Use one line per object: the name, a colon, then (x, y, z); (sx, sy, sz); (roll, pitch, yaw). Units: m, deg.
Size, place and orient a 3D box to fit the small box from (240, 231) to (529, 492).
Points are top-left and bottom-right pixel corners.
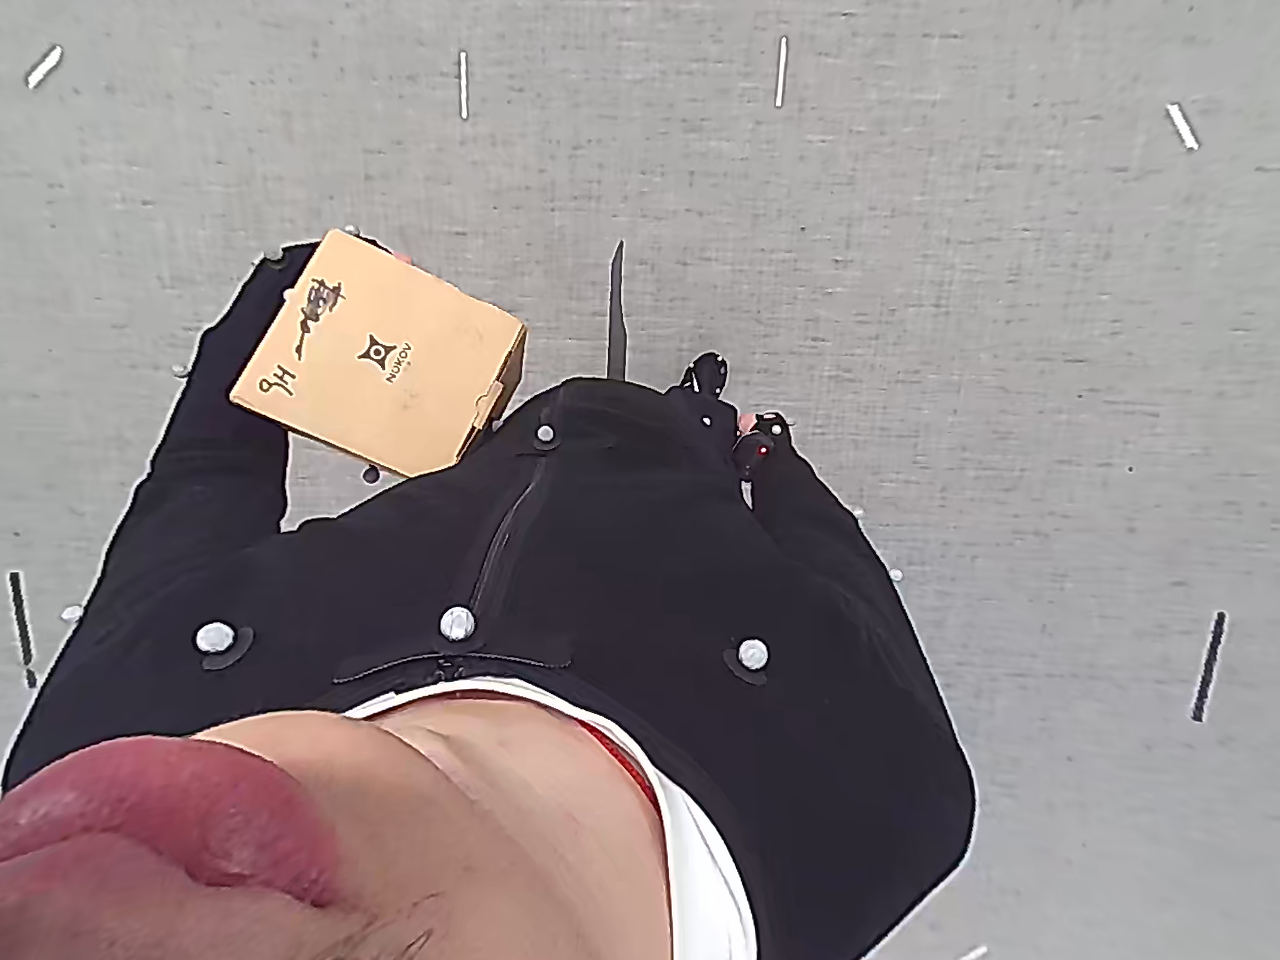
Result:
small box: (-0.226, -0.094, 0.530); (0.179, 0.176, 0.168); (25, 78, -11)
